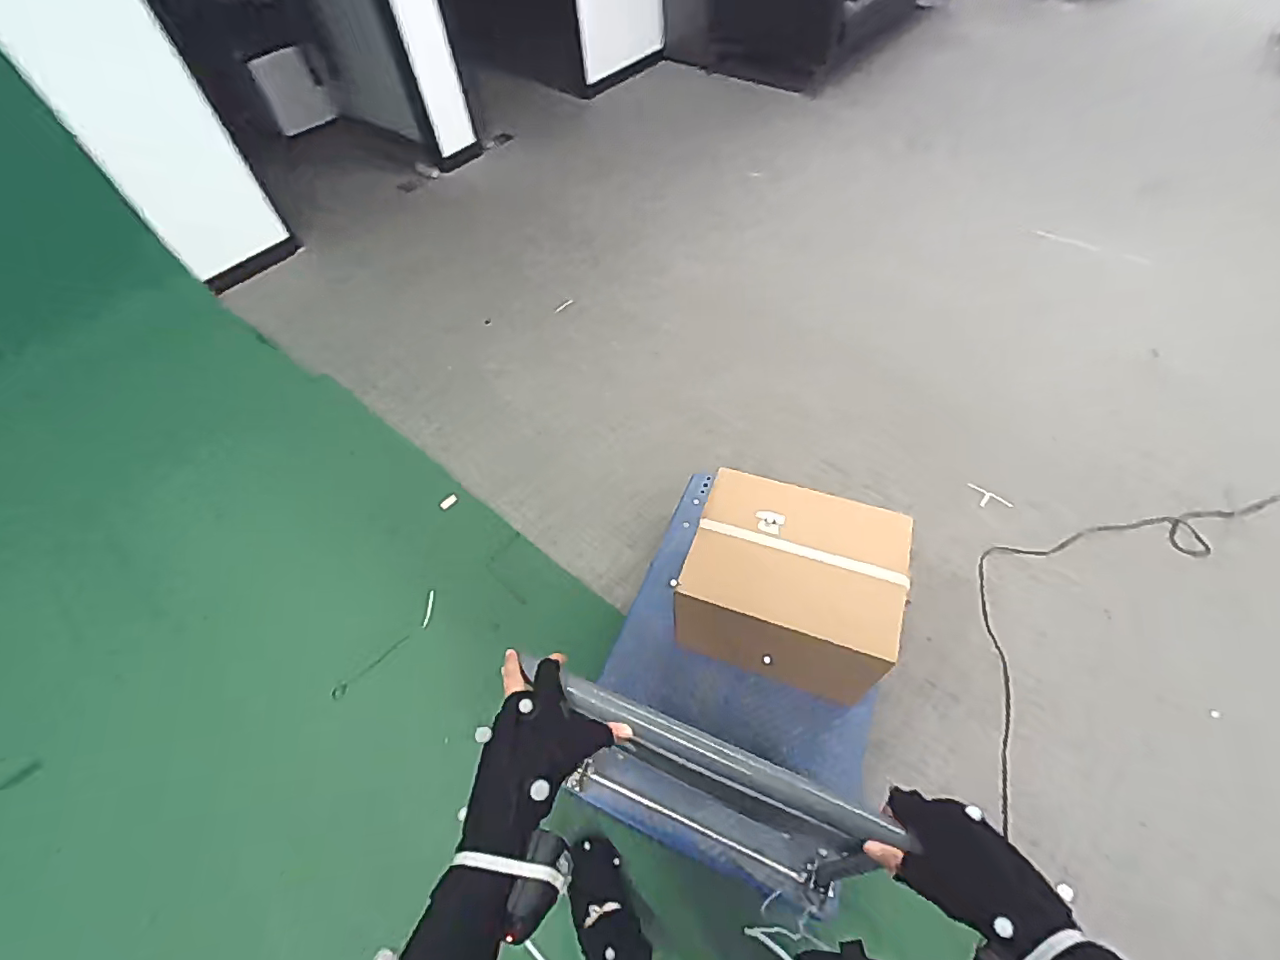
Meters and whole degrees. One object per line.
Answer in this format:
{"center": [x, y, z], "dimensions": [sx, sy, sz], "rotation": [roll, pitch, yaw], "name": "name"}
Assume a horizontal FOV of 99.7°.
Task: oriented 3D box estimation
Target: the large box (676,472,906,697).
{"center": [0.318, 0.230, 1.183], "dimensions": [0.408, 0.320, 0.320], "rotation": [14, 56, 16], "name": "large box"}
